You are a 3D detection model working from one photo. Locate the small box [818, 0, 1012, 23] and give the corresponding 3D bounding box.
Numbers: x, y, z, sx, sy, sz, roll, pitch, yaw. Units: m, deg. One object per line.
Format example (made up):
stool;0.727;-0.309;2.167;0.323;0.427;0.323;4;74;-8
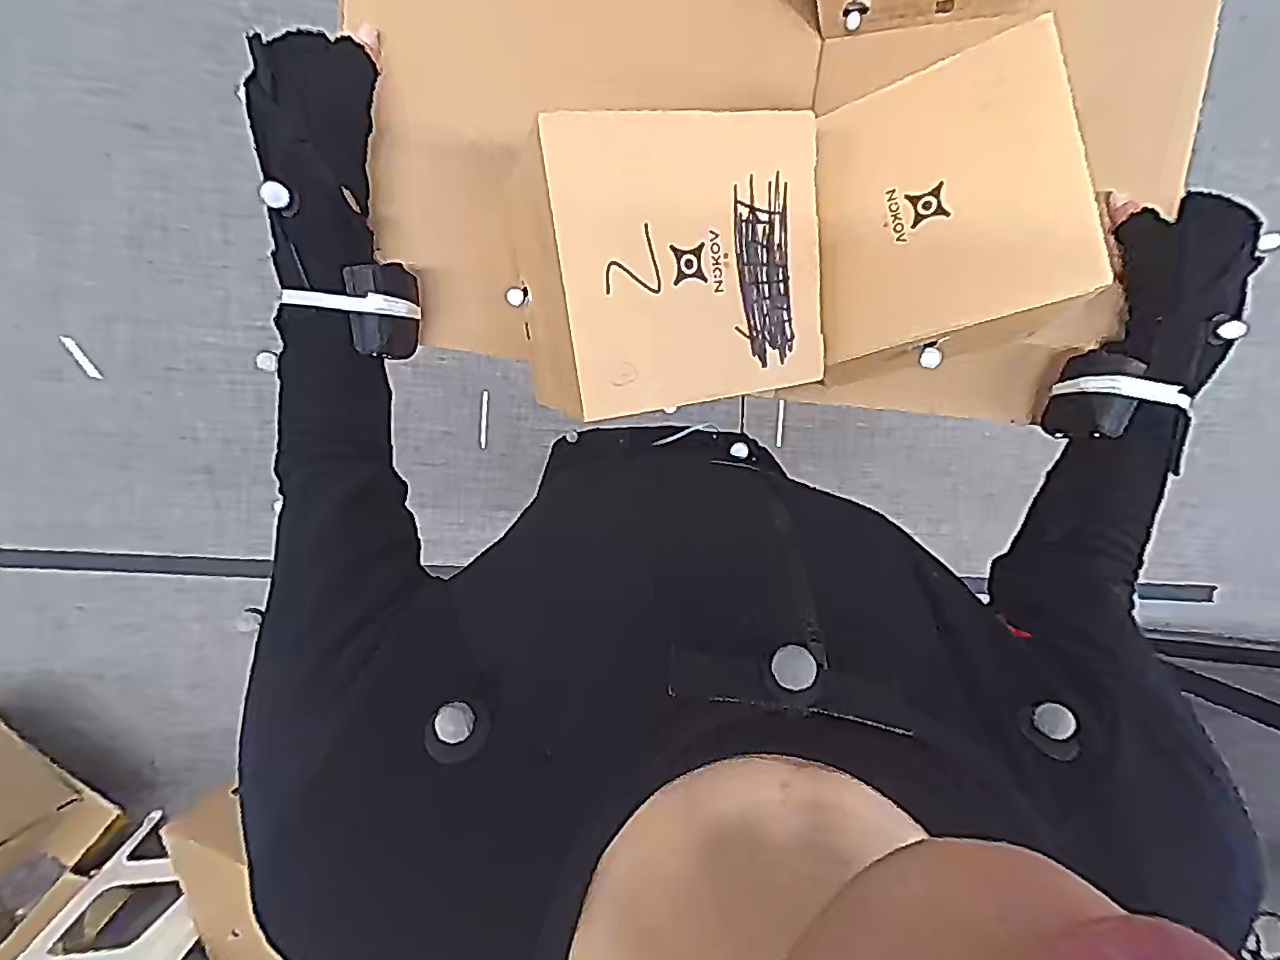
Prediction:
small box;0.225;-0.488;0.404;0.168;0.176;0.179;12;96;23
